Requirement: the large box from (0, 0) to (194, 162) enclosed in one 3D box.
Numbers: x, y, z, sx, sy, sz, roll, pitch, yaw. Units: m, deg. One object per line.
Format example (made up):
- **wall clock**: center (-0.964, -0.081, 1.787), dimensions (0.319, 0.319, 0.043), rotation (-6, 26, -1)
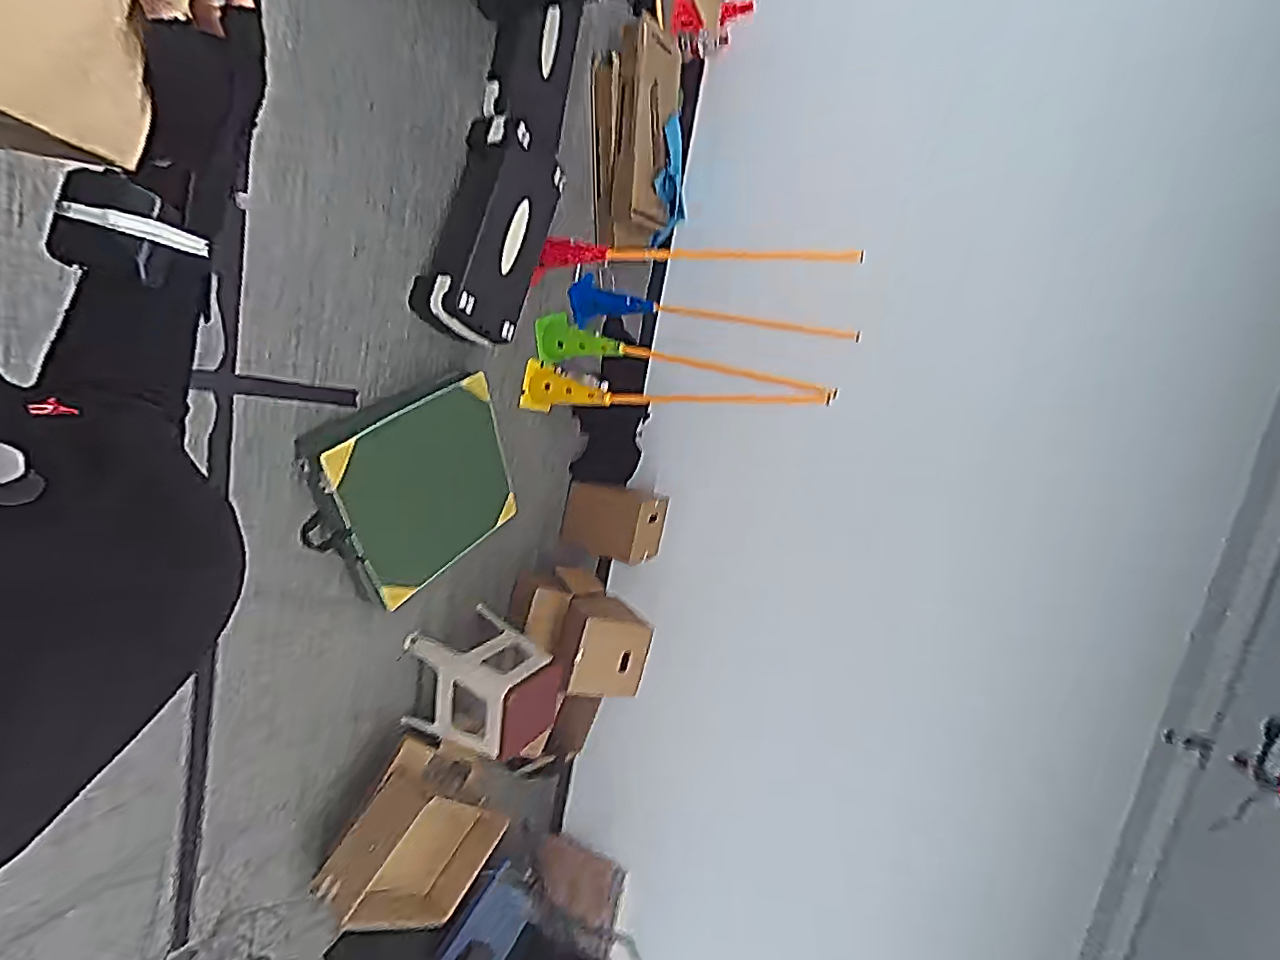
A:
- **large box**: center (-0.517, -0.432, 0.265), dimensions (0.408, 0.320, 0.320), rotation (12, 99, -64)
